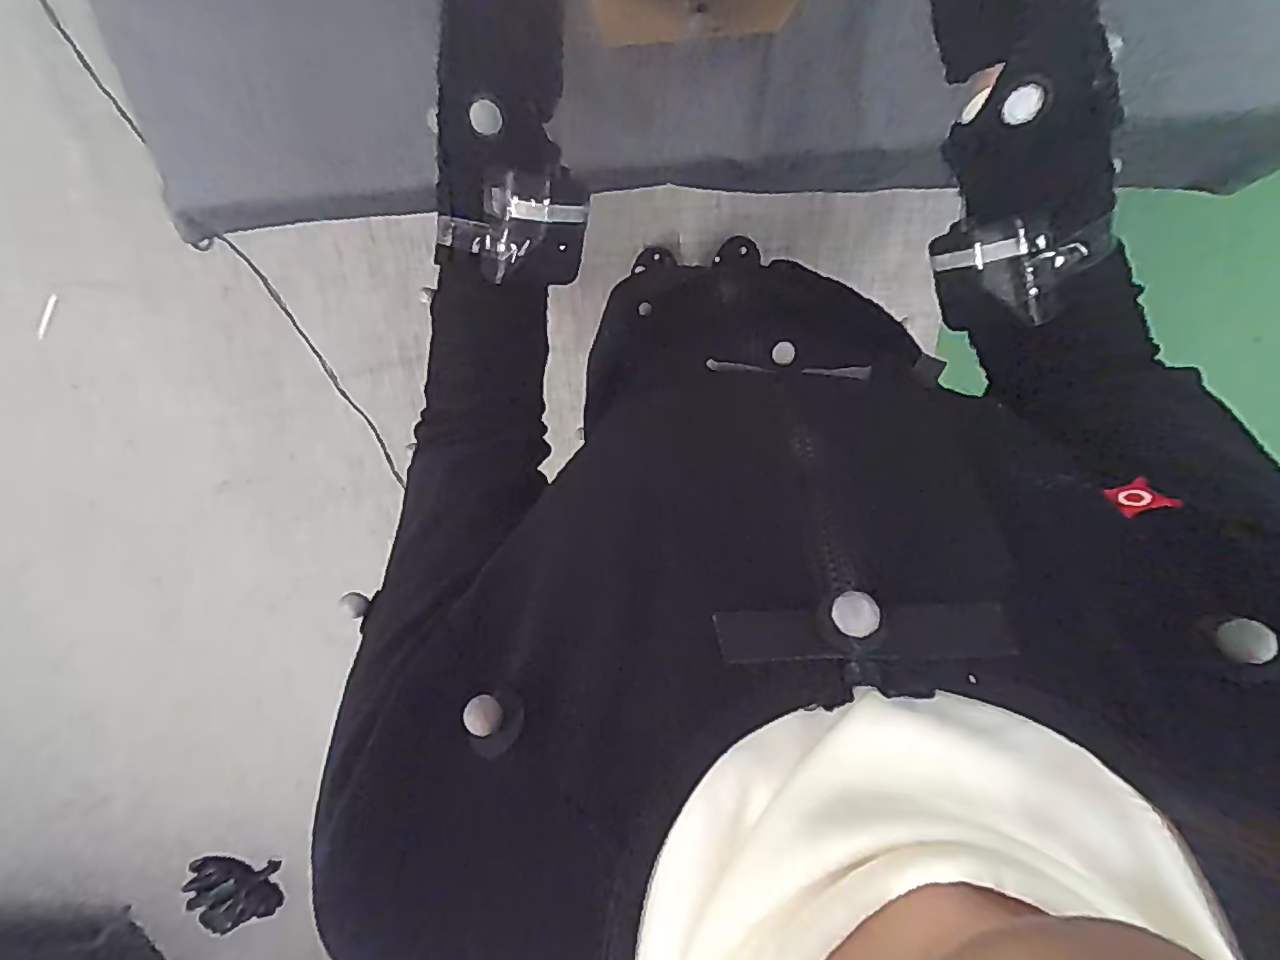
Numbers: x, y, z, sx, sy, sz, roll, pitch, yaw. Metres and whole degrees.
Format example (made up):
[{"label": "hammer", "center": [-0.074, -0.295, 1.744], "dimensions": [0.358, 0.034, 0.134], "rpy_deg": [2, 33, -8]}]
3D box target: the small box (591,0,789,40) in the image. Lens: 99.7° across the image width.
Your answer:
[{"label": "small box", "center": [0.041, -0.458, 0.403], "dimensions": [0.168, 0.176, 0.179], "rpy_deg": [-3, 116, 4]}]
